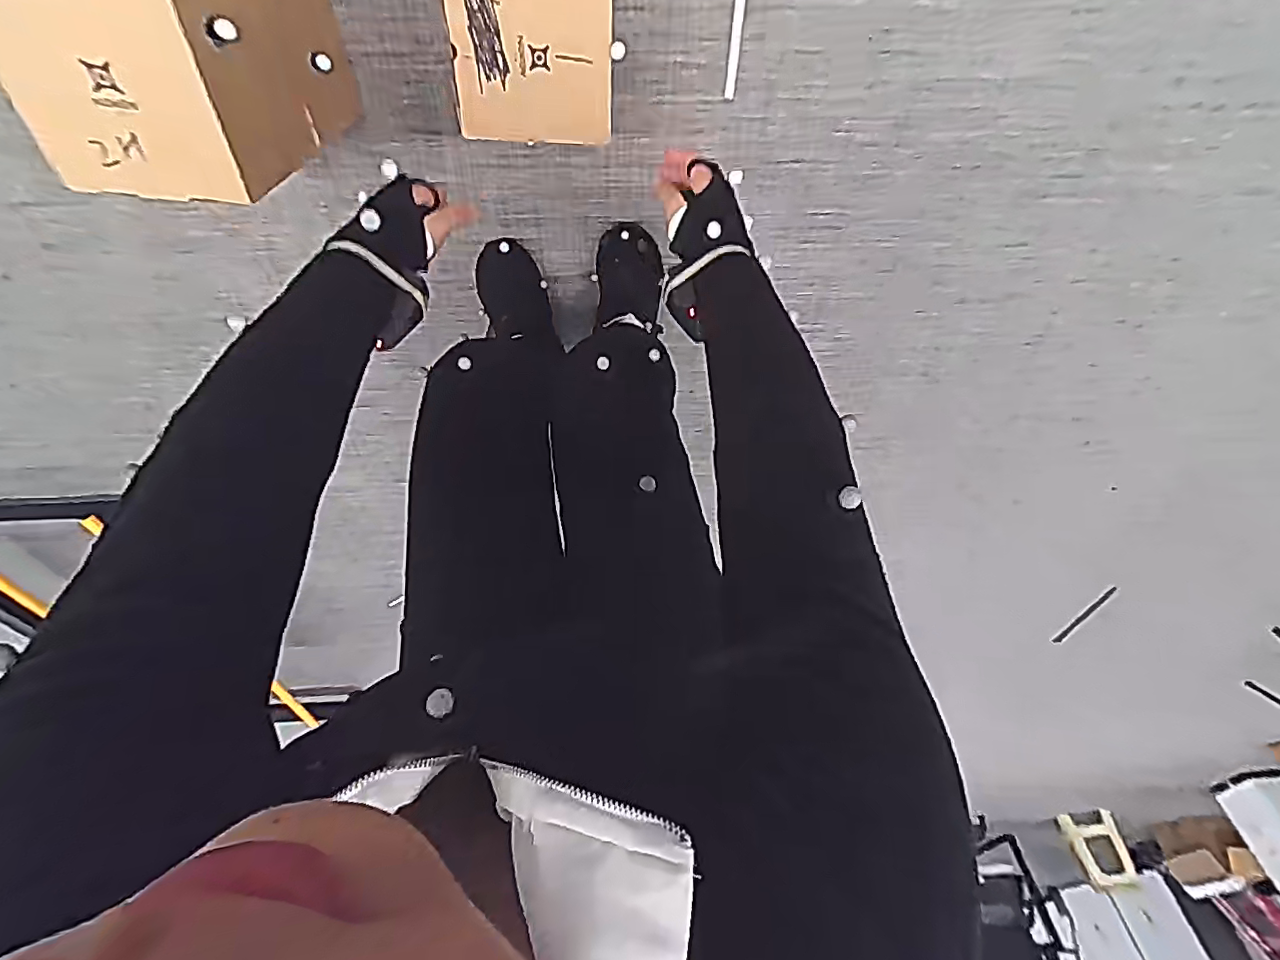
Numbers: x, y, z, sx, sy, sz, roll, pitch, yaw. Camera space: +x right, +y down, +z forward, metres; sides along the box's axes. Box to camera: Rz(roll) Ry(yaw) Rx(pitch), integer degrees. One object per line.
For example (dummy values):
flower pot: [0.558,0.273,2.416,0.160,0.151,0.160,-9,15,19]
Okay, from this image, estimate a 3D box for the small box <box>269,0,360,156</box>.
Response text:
small box: [-0.458,-0.502,0.630,0.168,0.176,0.179,-2,137,-2]

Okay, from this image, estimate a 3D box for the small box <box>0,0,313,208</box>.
small box: [-0.449,-0.385,0.513,0.168,0.176,0.179,2,136,-5]

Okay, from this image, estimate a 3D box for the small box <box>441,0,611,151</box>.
small box: [-0.124,-0.513,0.644,0.179,0.176,0.168,0,136,-5]
